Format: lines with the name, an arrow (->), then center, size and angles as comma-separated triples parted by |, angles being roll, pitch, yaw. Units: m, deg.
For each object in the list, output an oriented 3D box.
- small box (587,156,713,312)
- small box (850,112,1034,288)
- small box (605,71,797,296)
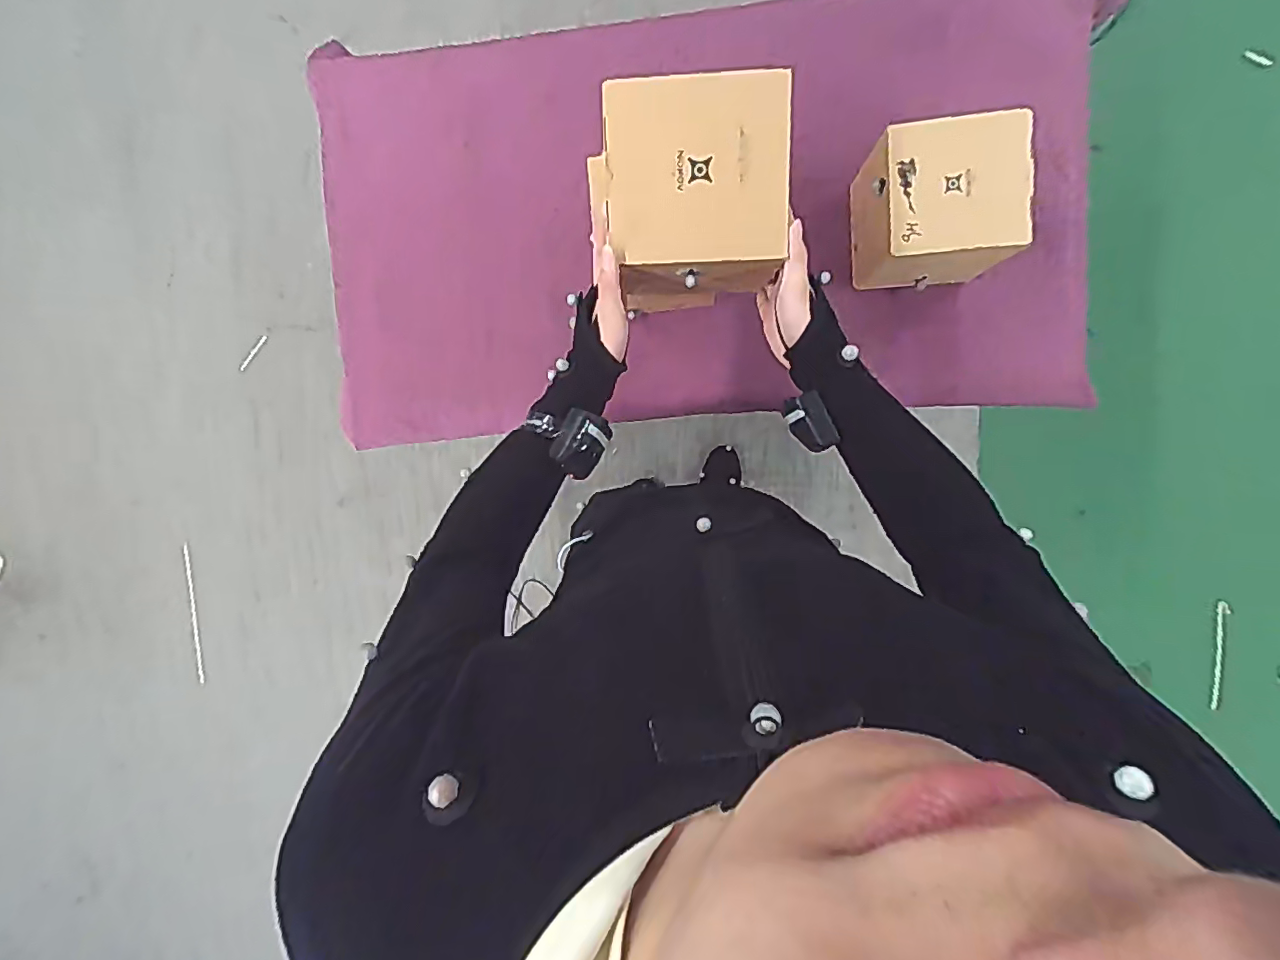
small box -> 0.023, -0.355, 0.798 | 0.168, 0.176, 0.179 | -5, 93, 5
small box -> 0.412, -0.379, 0.762 | 0.179, 0.176, 0.168 | -3, 94, 5
small box -> 0.061, -0.297, 0.580 | 0.179, 0.176, 0.168 | 0, 99, 4
